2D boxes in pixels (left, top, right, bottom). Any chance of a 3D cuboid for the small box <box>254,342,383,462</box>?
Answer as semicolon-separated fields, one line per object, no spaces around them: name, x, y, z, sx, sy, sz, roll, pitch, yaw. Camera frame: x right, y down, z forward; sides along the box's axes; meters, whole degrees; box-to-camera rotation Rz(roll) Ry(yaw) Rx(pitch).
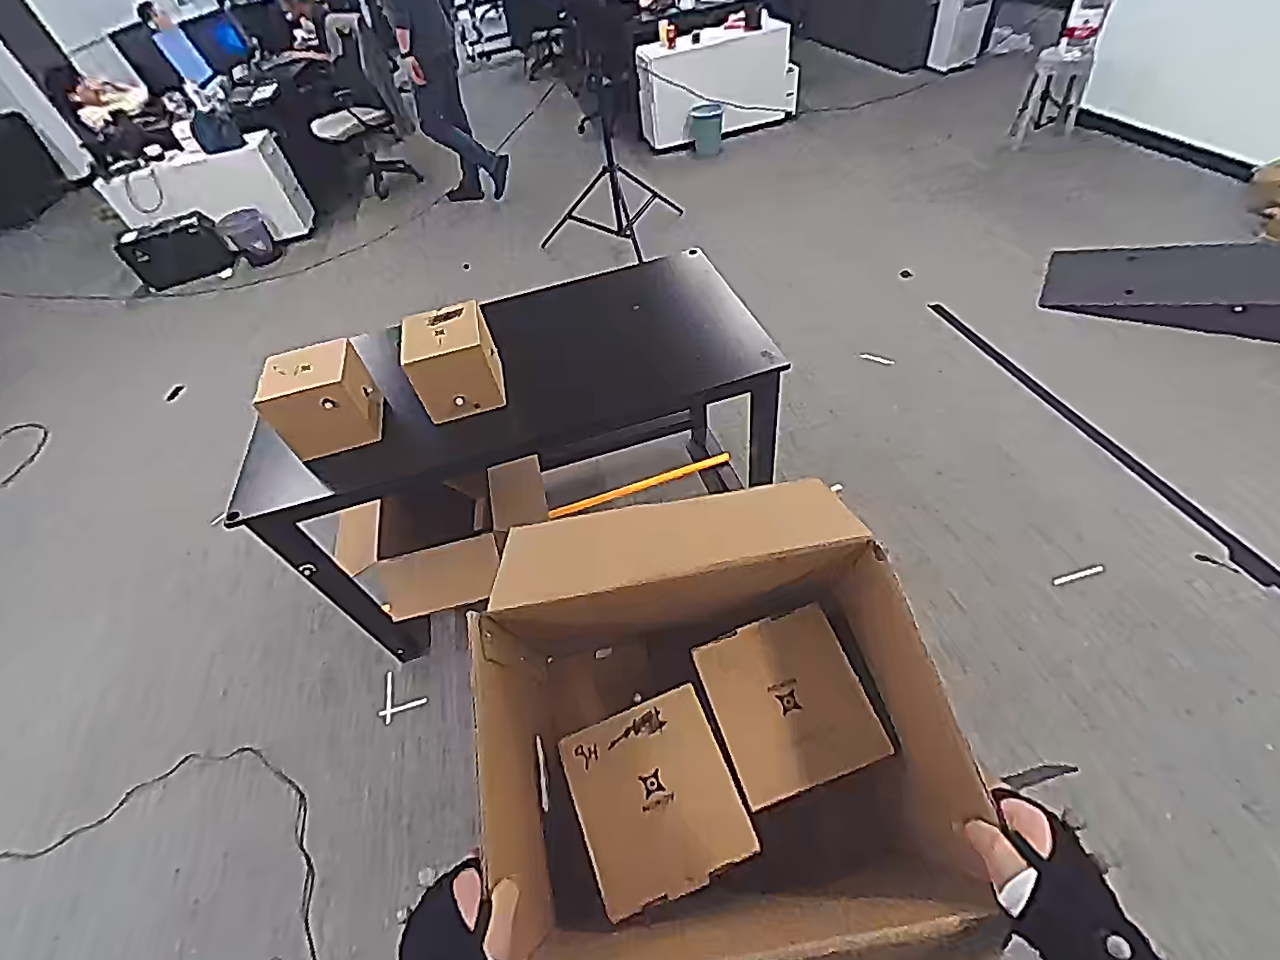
small box;-0.679;-0.166;1.169;0.179;0.176;0.168;-16;48;-5

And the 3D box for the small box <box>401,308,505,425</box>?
small box;-0.408;-0.250;1.199;0.168;0.176;0.179;-16;49;-4
